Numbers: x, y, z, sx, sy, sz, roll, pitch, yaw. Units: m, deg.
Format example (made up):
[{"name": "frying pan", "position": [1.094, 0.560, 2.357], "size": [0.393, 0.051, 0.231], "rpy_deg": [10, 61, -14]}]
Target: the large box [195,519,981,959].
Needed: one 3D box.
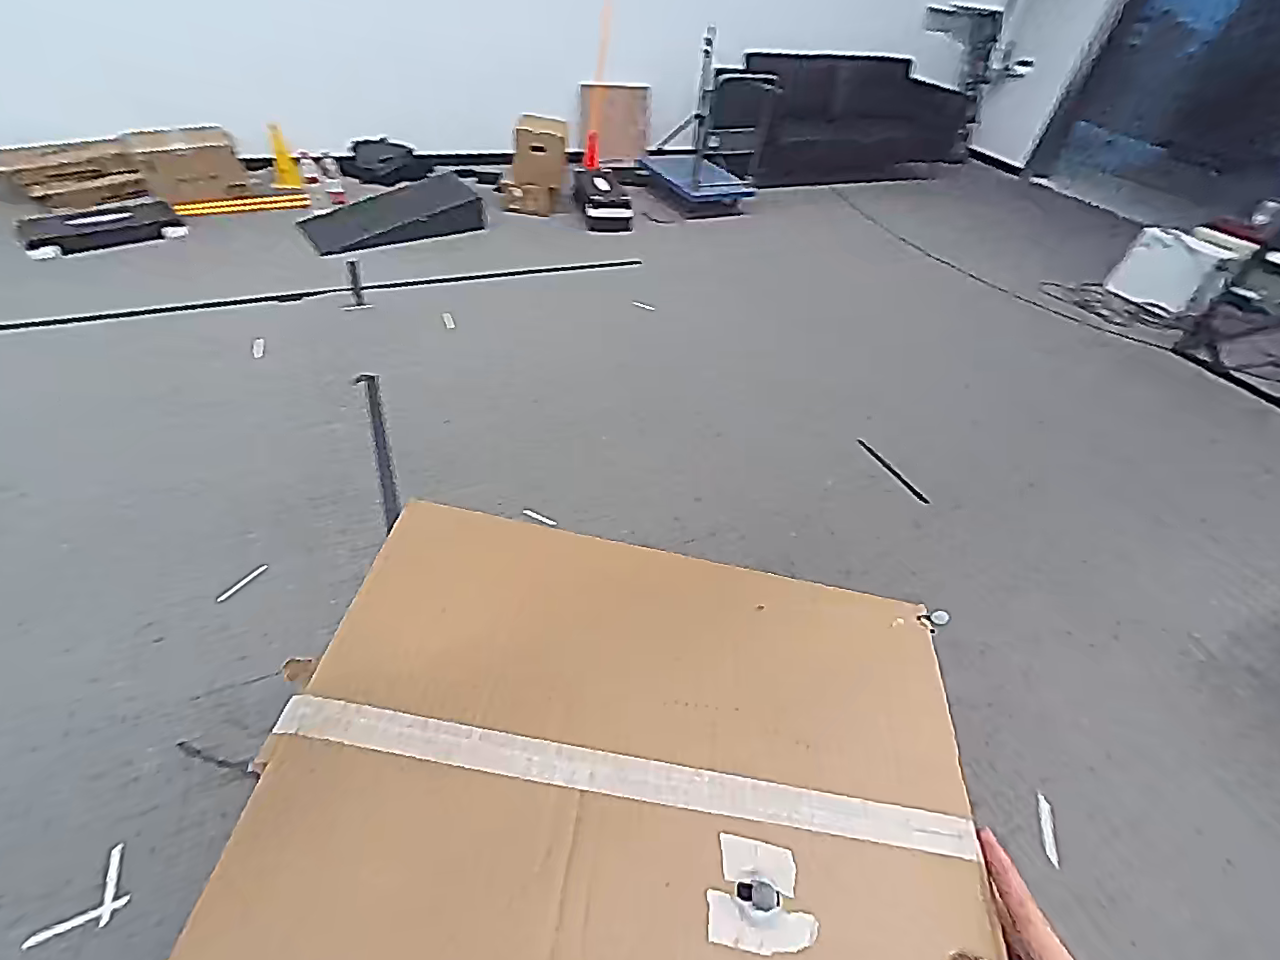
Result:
[{"name": "large box", "position": [-0.027, 0.273, 0.437], "size": [0.408, 0.320, 0.320], "rpy_deg": [12, 51, -3]}]
